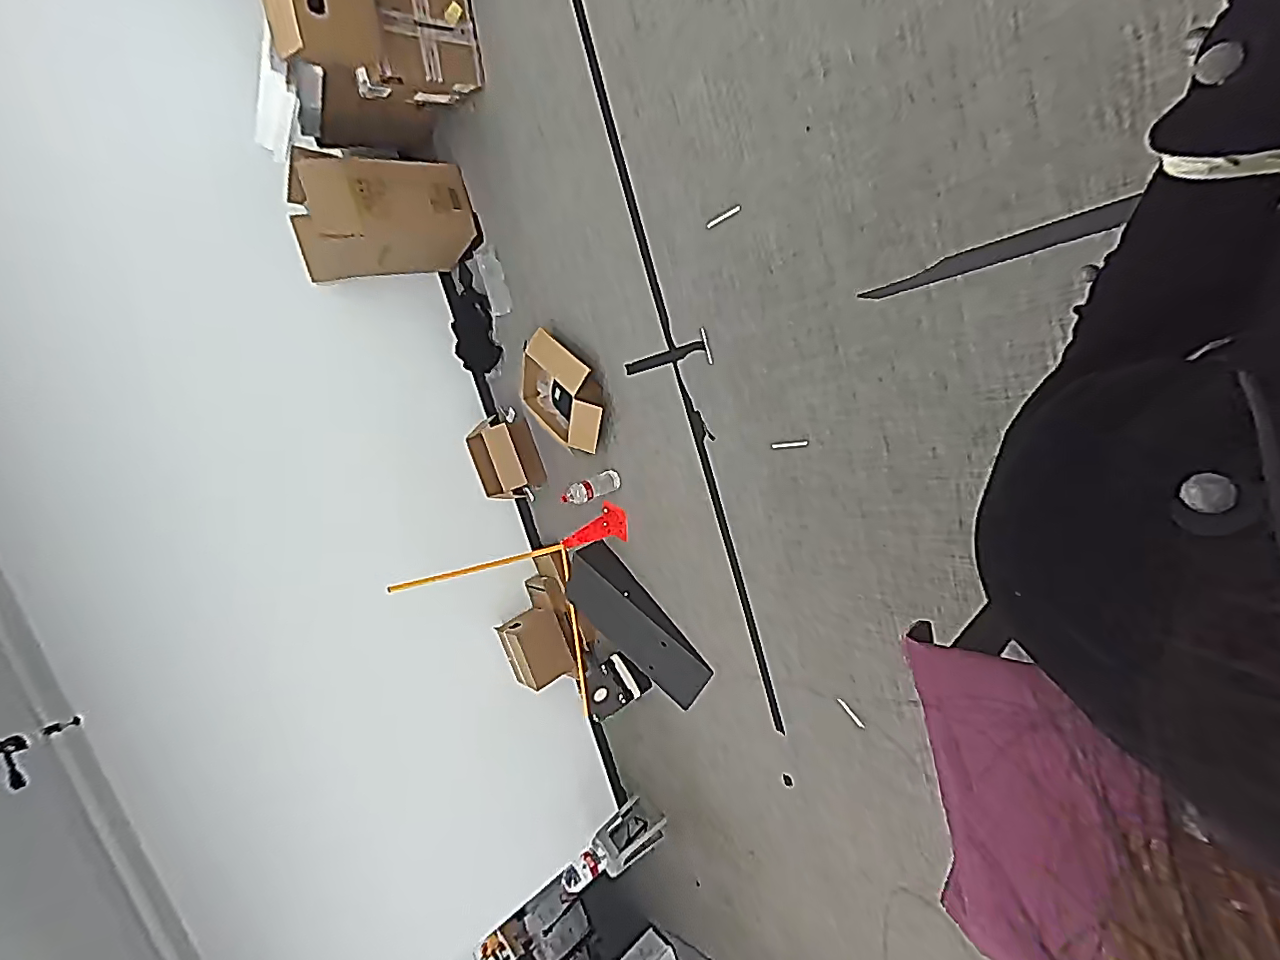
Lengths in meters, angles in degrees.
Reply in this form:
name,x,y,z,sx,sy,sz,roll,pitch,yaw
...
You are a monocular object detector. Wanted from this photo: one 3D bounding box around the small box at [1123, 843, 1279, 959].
name,x,y,z,sx,sy,sz,roll,pitch,yaw
small box,0.695,0.591,0.635,0.168,0.176,0.179,5,113,51
